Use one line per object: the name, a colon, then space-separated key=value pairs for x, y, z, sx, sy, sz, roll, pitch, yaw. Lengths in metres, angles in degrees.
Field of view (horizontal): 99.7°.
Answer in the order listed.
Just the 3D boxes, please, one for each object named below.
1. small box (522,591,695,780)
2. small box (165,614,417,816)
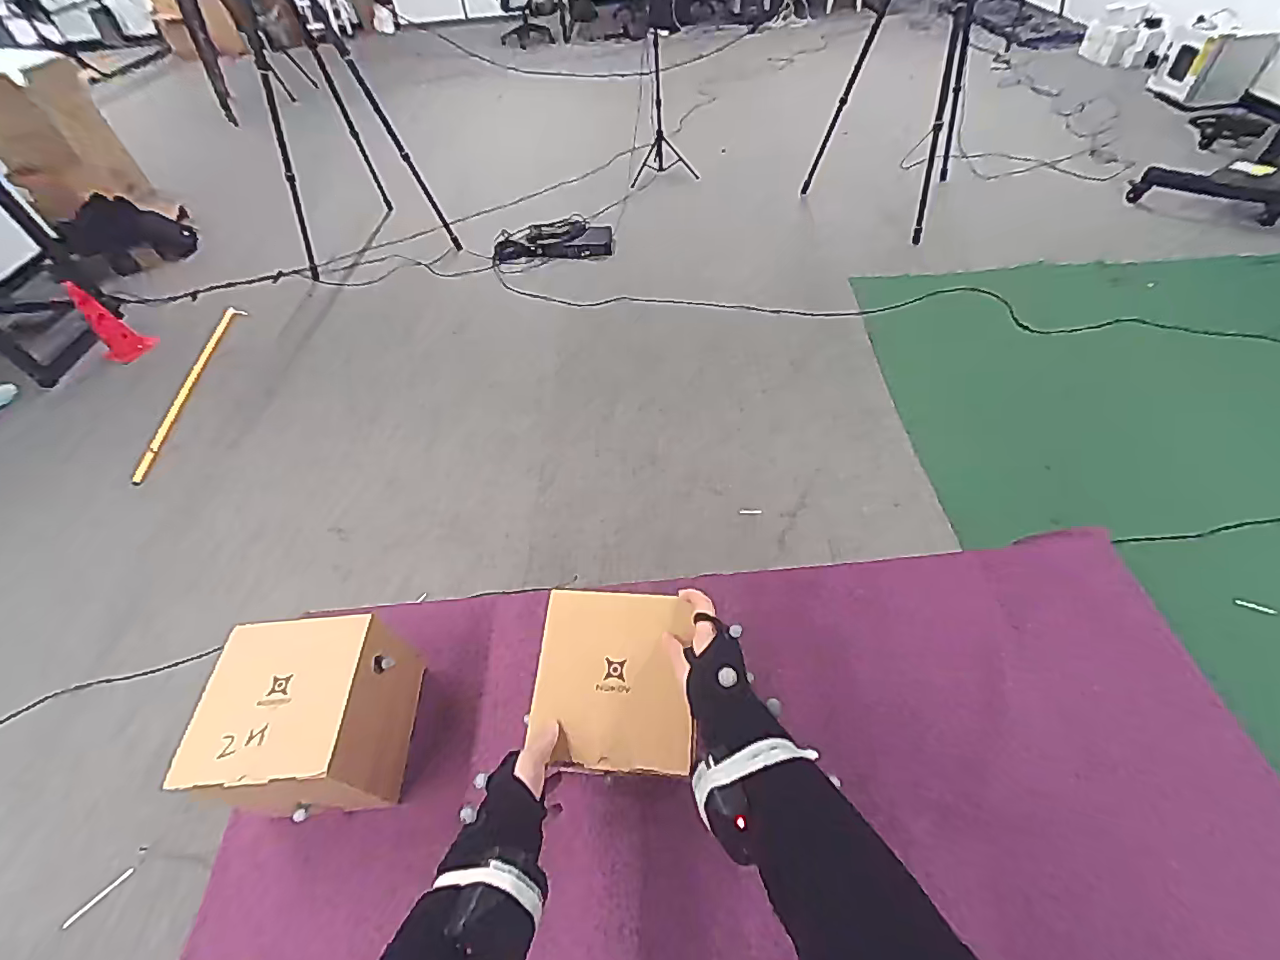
small box: x=-0.022 y=0.242 z=0.628 sx=0.168 sy=0.176 sz=0.179 roll=2 pitch=62 yaw=7
small box: x=-0.387 y=0.282 z=0.645 sx=0.168 sy=0.176 sz=0.179 roll=-5 pitch=50 yaw=1
